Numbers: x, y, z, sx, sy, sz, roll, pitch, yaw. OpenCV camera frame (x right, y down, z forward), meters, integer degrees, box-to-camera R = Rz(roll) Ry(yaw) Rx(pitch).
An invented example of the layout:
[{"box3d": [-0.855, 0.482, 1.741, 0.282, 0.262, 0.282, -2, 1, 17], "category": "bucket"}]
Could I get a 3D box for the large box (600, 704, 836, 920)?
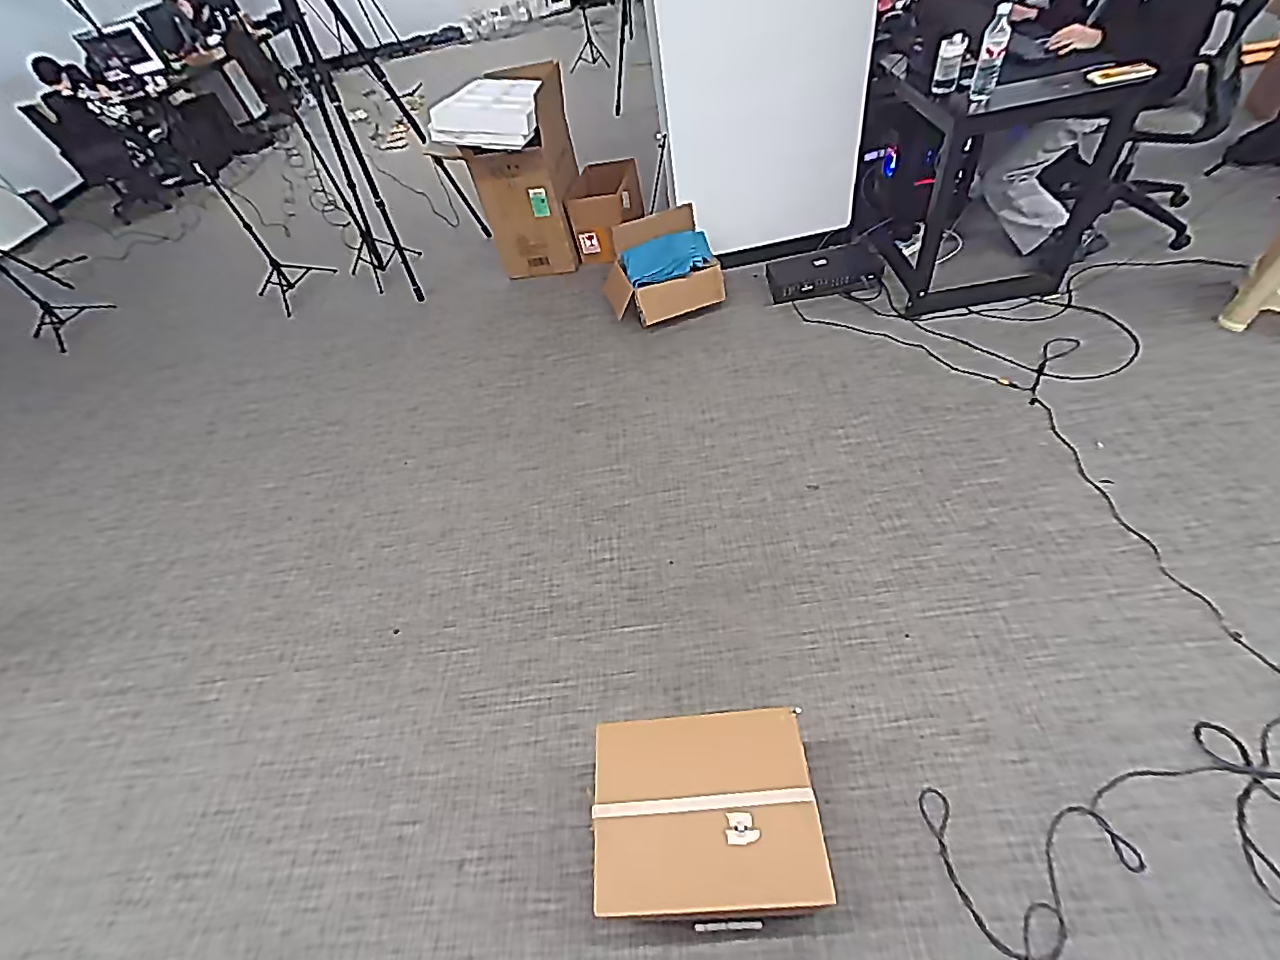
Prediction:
[{"box3d": [0.143, 0.686, 1.108, 0.408, 0.320, 0.320, -8, 50, 6], "category": "large box"}]
